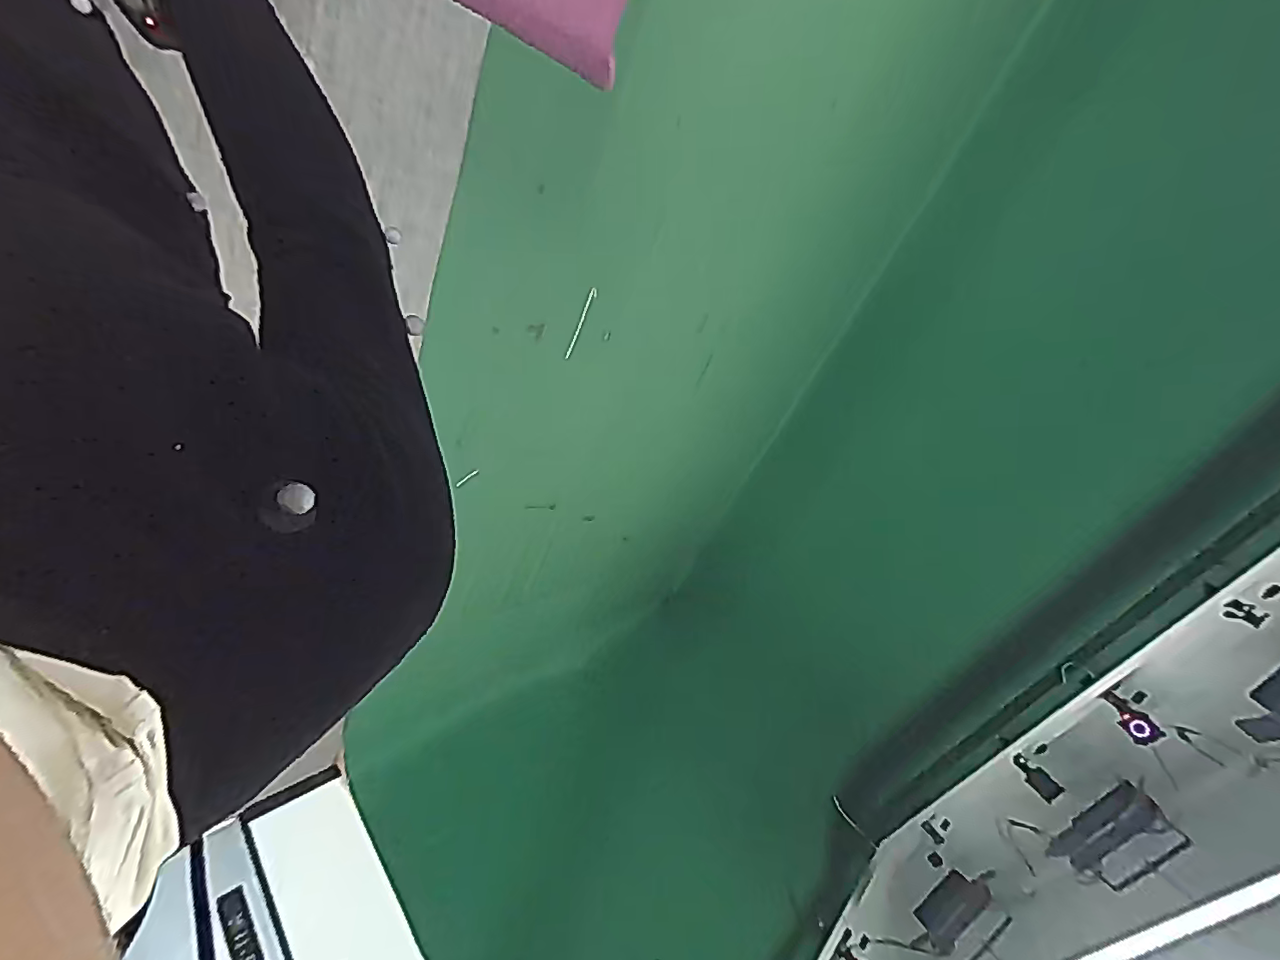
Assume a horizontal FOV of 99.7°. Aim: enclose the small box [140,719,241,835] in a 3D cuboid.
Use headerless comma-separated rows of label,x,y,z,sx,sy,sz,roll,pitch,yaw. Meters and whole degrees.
small box,-1.167,0.760,1.400,0.168,0.176,0.179,-8,135,-51
